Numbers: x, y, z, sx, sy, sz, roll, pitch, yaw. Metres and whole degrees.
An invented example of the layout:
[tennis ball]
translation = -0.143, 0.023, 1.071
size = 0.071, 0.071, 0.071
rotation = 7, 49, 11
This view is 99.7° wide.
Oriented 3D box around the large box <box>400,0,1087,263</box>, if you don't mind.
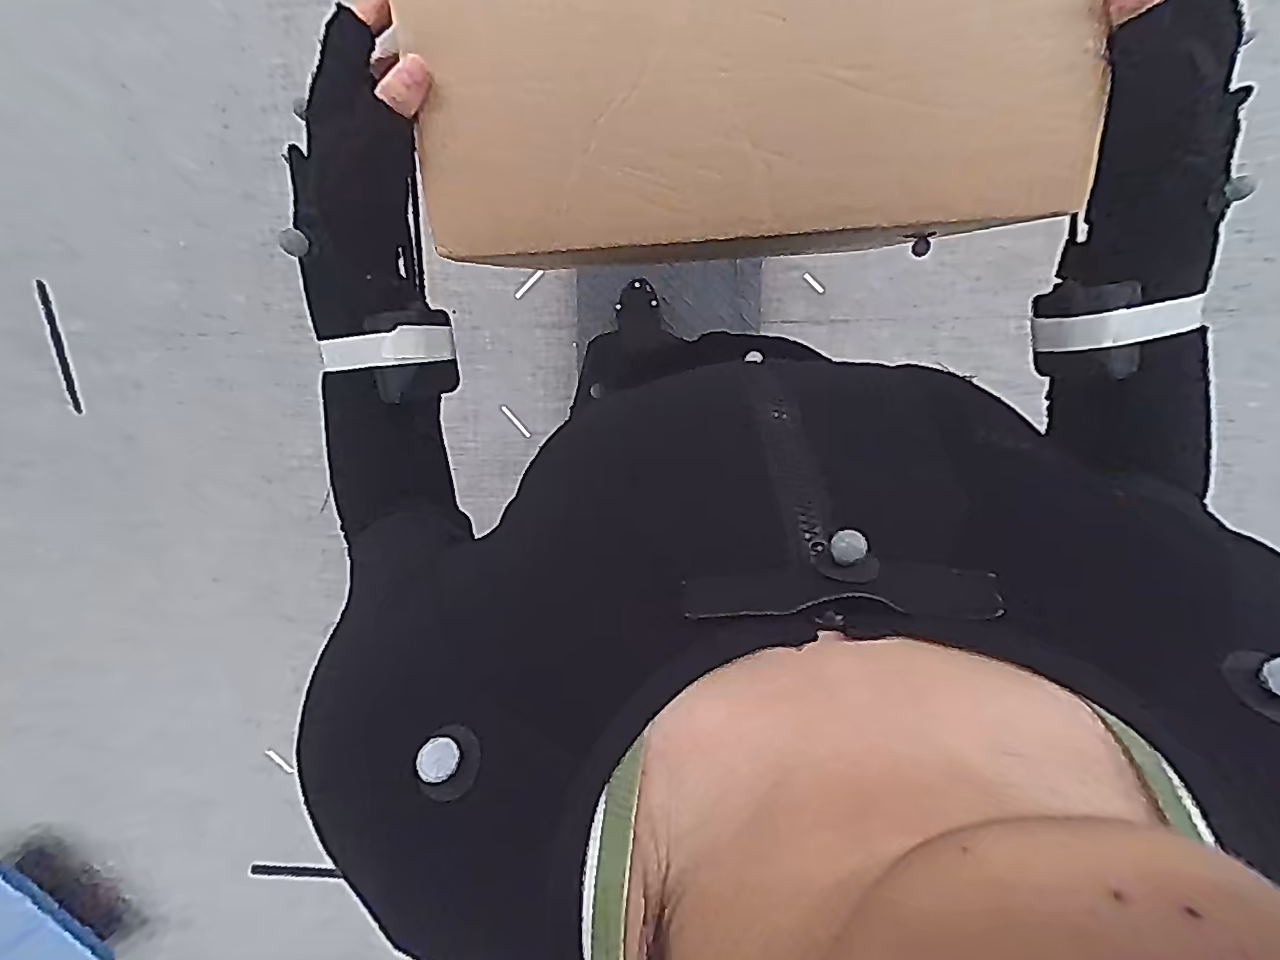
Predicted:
[large box]
translation = 0.059, -0.357, 0.439
size = 0.408, 0.320, 0.320
rotation = -3, 109, 1
